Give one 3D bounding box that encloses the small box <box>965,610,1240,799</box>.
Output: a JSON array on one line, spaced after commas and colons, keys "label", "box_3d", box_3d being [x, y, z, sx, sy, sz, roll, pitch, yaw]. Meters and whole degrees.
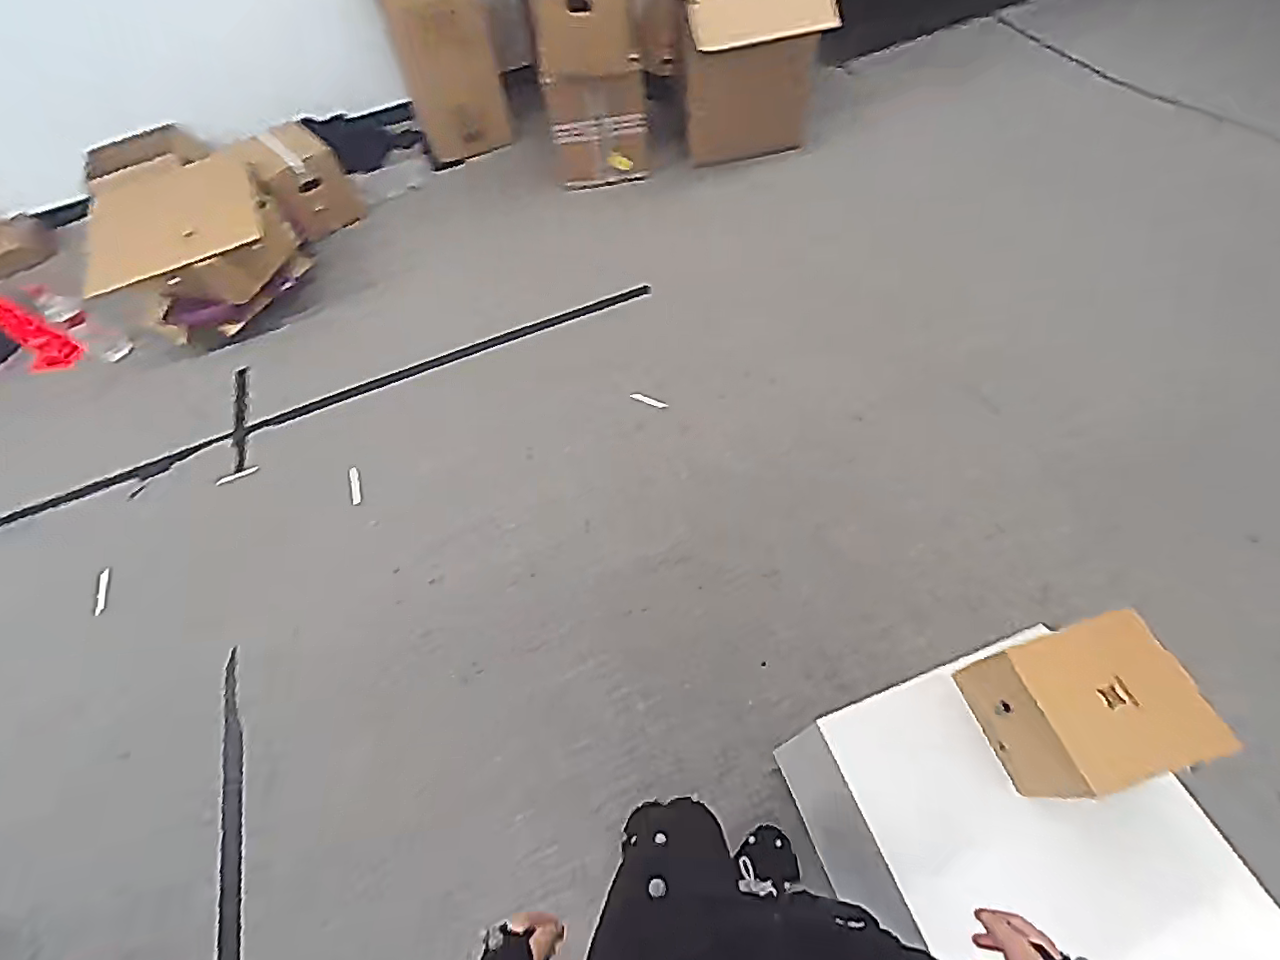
[{"label": "small box", "box_3d": [0.547, 0.288, 0.681, 0.179, 0.176, 0.168, -17, 60, -3]}]
